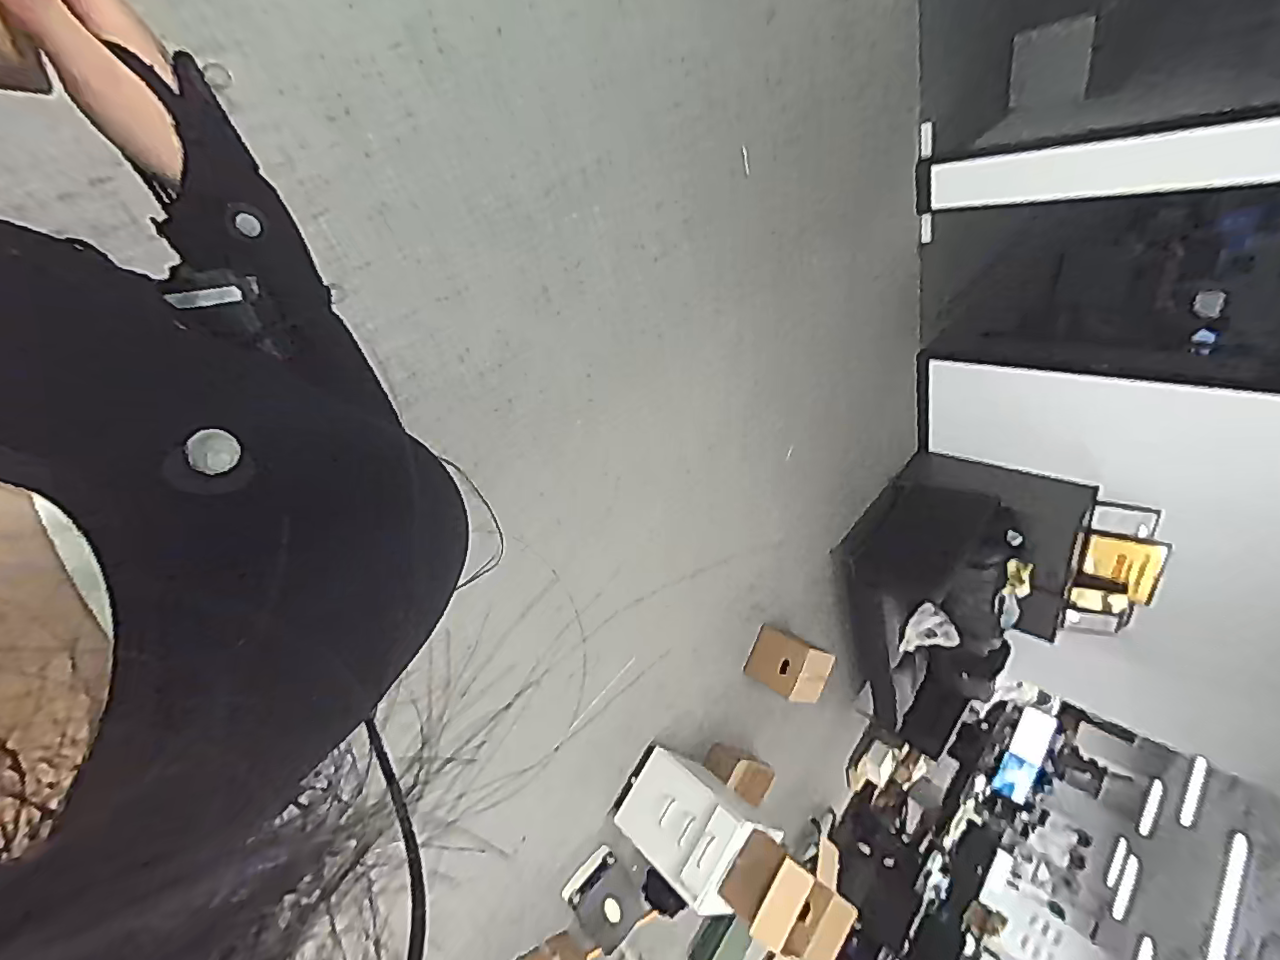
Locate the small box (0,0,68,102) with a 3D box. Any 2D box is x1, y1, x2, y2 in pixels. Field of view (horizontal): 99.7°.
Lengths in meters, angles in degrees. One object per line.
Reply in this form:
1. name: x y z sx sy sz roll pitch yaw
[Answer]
1. small box: -0.341 -0.255 0.174 0.168 0.176 0.179 -14 116 -32
